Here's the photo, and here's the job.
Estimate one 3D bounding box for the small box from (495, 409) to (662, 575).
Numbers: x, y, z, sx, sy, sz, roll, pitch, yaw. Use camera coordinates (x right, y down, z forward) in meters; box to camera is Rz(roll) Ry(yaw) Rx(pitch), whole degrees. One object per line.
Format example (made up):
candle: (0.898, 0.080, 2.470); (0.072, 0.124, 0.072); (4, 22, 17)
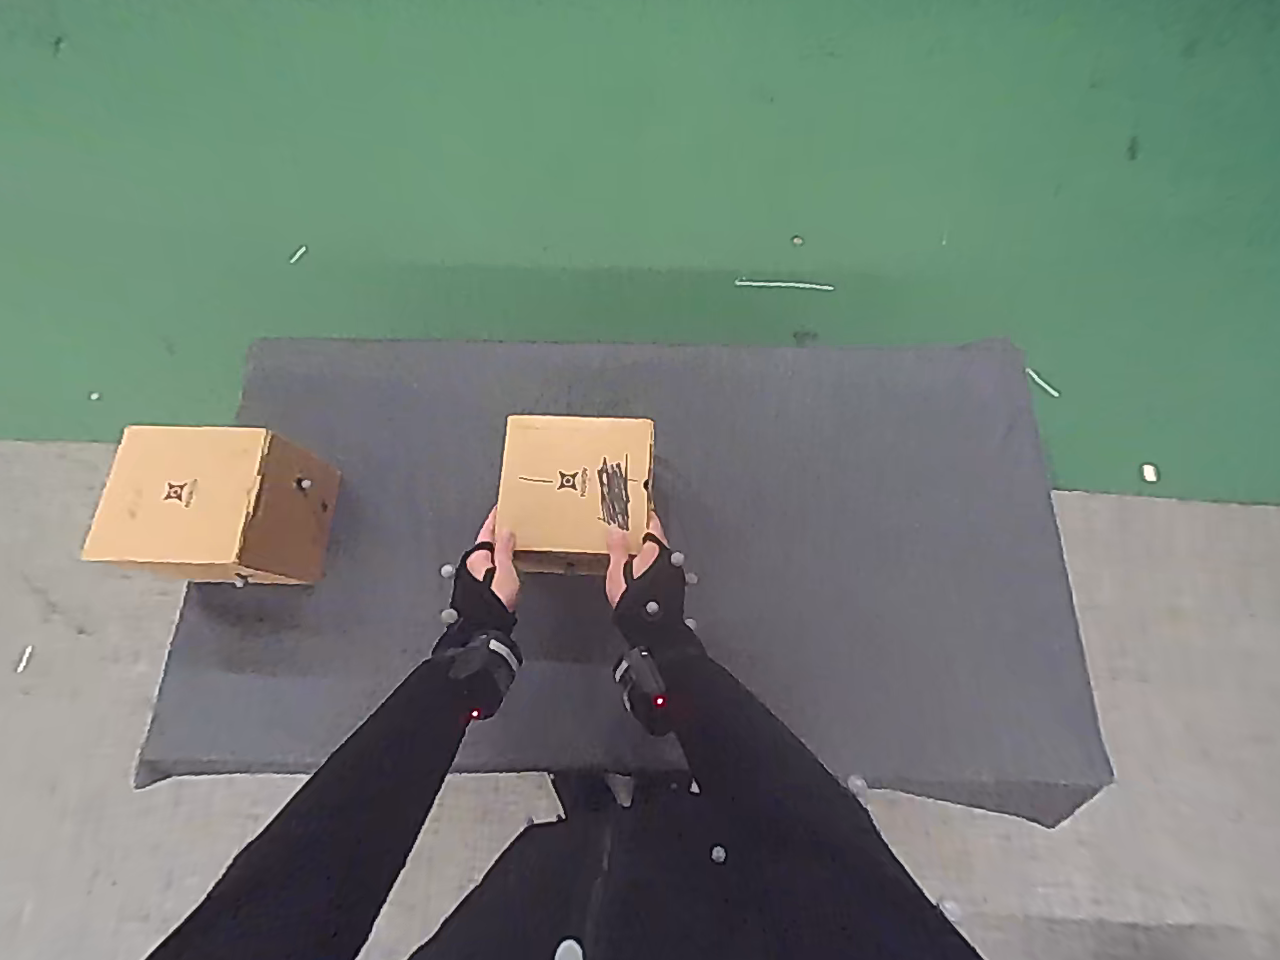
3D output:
small box: (-0.068, 0.025, 0.687); (0.179, 0.176, 0.168); (3, 71, 1)

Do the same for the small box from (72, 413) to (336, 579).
small box: (-0.520, 0.028, 0.679); (0.179, 0.176, 0.168); (1, 70, 1)
